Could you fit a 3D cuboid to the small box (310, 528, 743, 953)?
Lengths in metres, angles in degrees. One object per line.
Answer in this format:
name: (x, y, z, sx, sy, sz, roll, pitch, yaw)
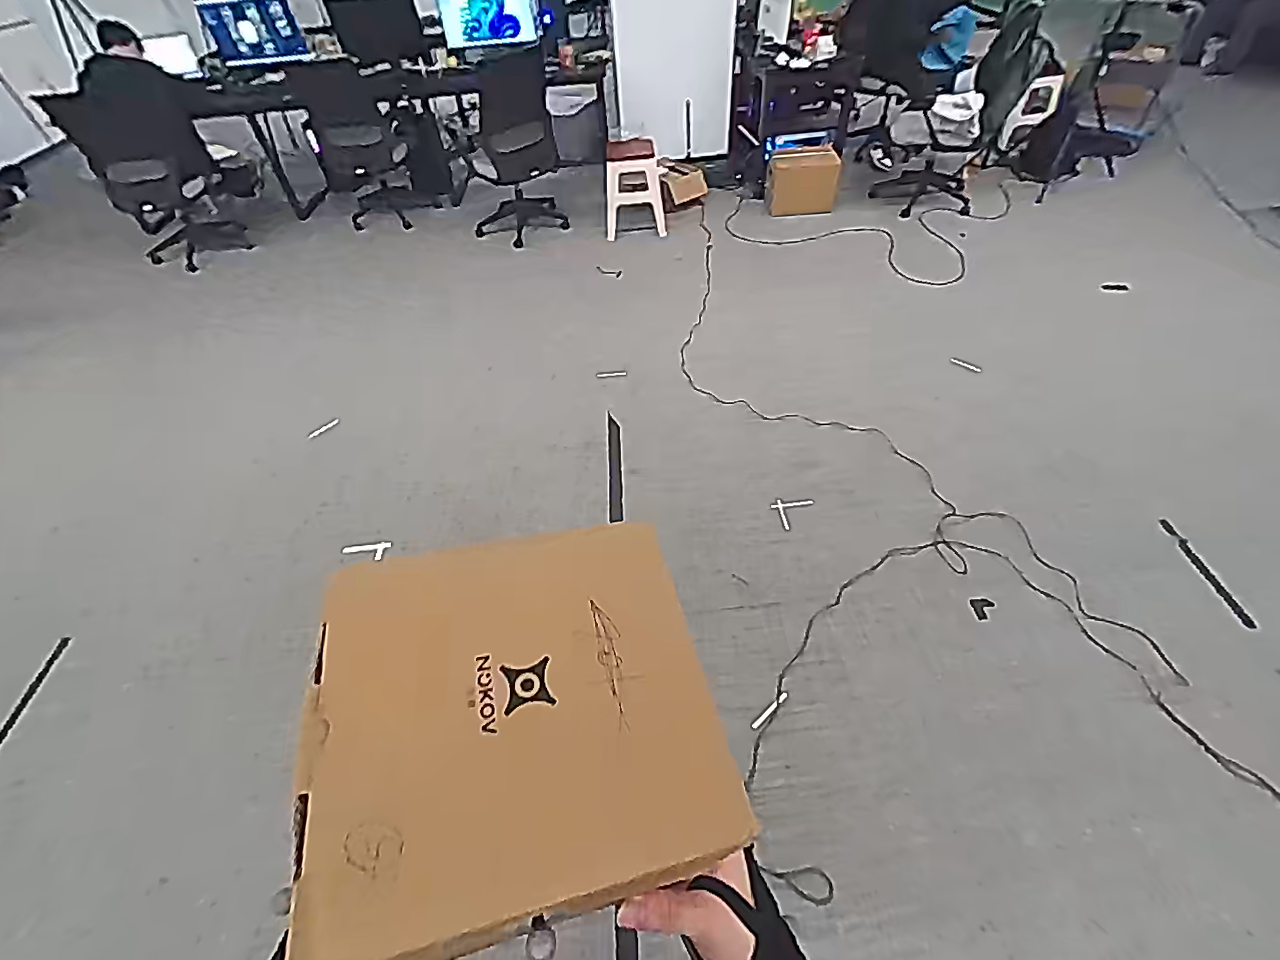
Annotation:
small box: (-0.065, 0.153, 0.323, 0.179, 0.176, 0.168, -7, 50, -16)
